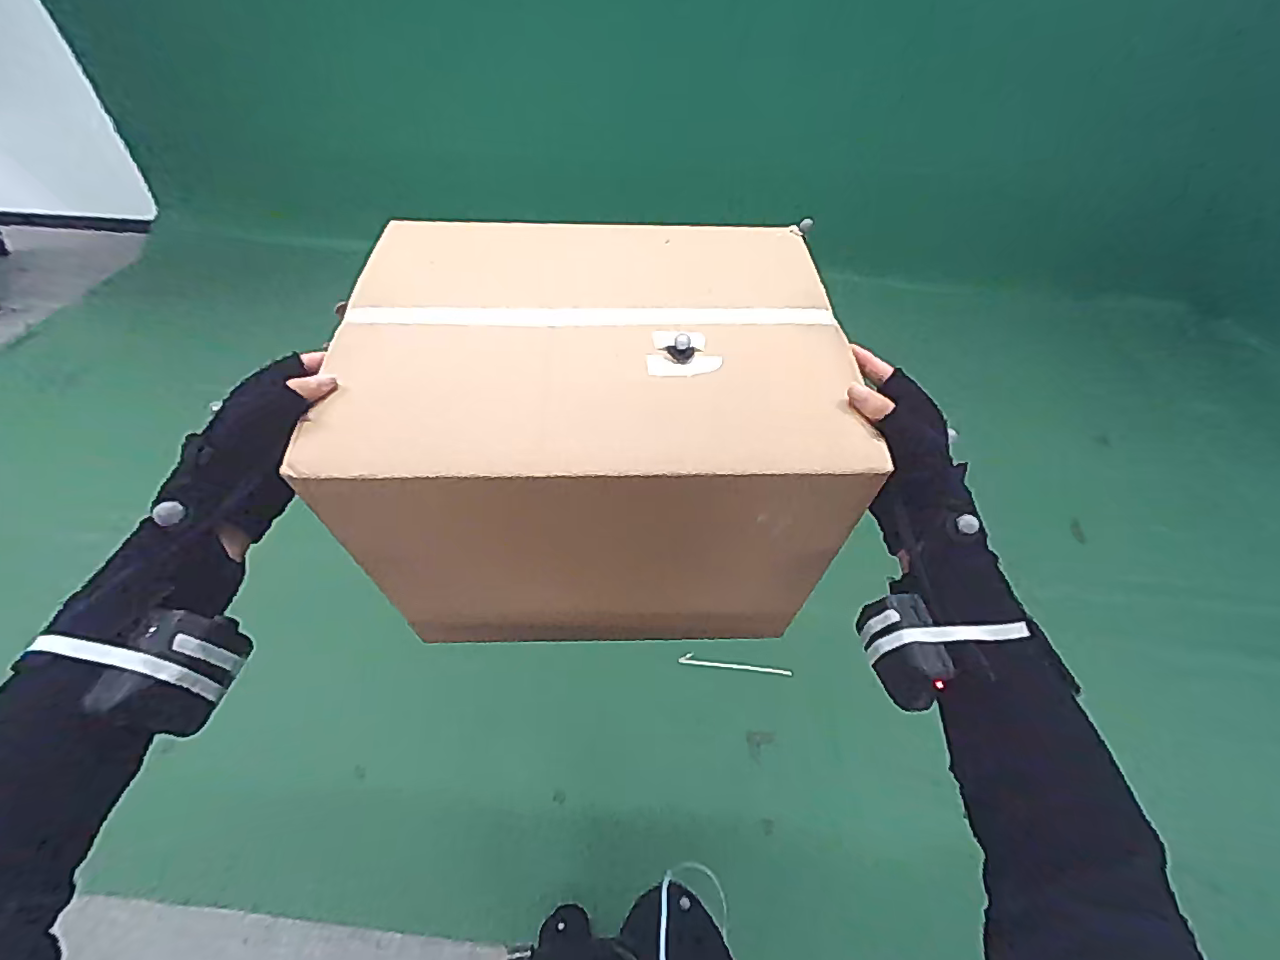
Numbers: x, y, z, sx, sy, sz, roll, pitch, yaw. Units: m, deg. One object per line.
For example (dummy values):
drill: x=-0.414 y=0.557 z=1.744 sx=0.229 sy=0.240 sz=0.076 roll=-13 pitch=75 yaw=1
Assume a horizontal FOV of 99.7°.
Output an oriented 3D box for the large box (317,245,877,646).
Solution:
large box: x=-0.040 y=-0.028 z=0.585 sx=0.408 sy=0.320 sz=0.320 roll=0 pitch=53 yaw=-4
